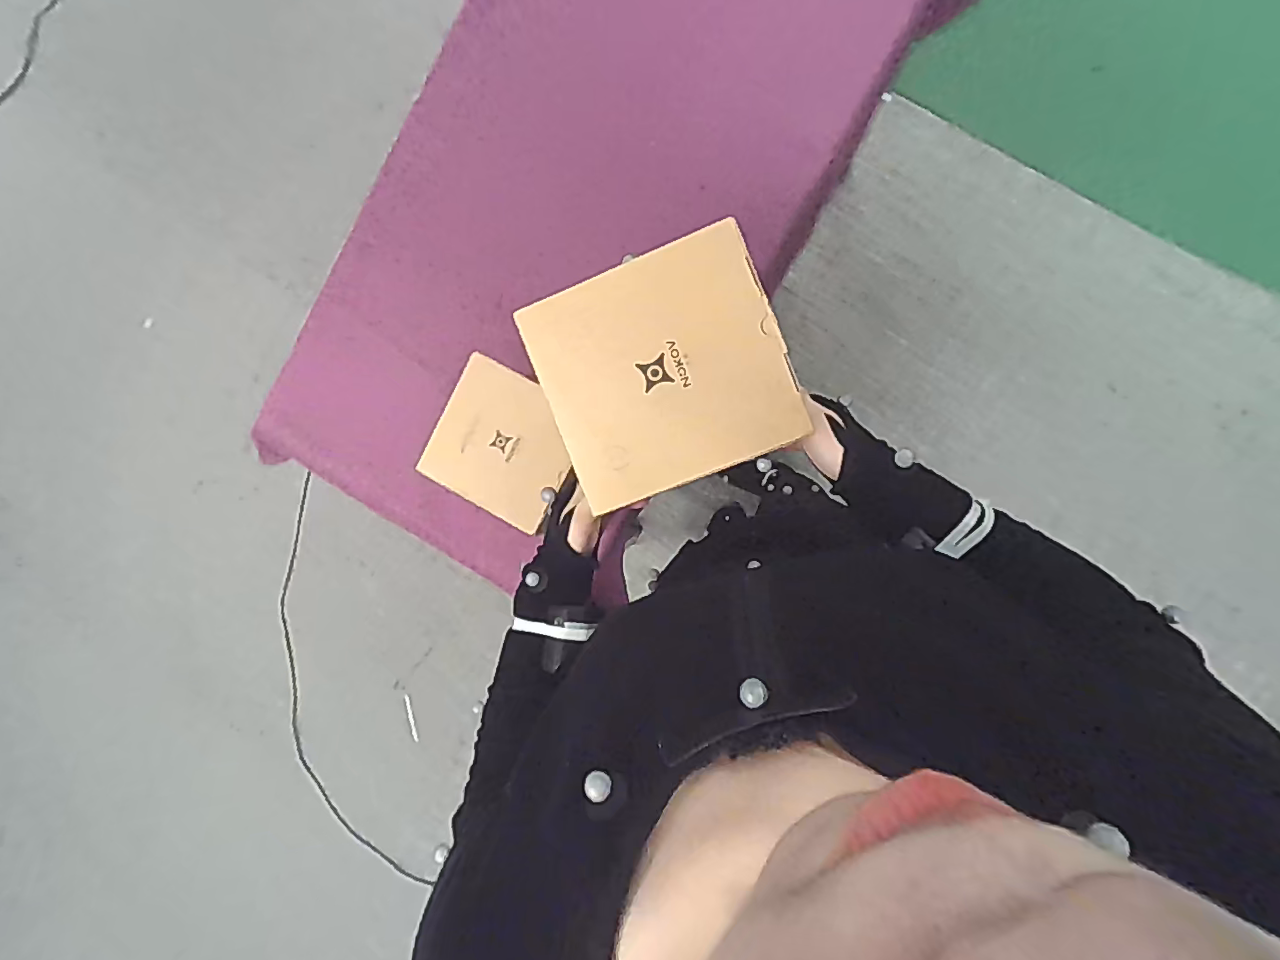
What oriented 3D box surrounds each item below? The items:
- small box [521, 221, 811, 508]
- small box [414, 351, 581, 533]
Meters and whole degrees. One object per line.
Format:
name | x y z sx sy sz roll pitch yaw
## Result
small box | 0.024 -0.084 0.473 0.179 0.176 0.168 -20 91 5
small box | -0.157 -0.049 0.731 0.179 0.176 0.168 29 94 7
